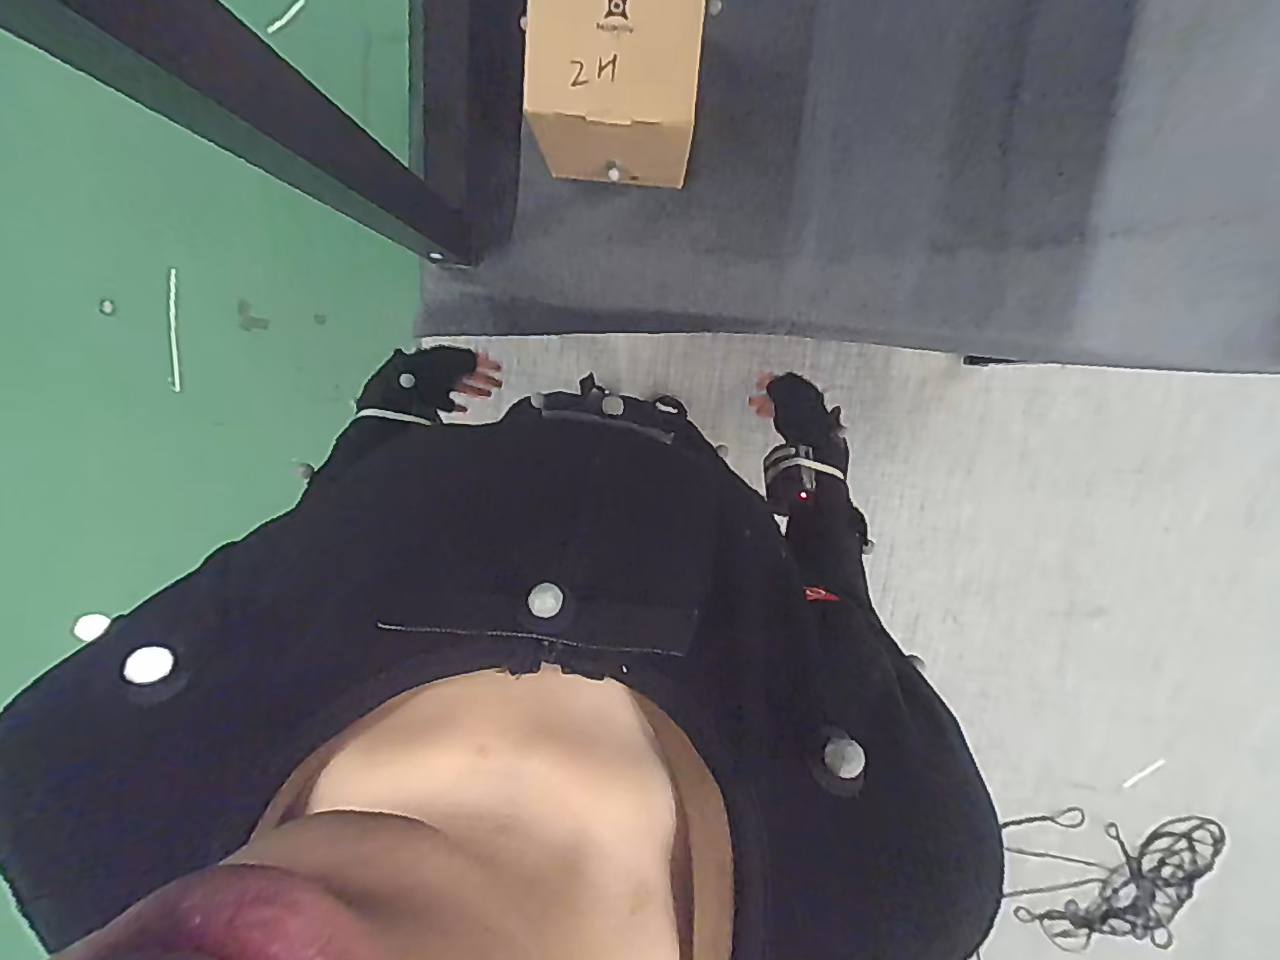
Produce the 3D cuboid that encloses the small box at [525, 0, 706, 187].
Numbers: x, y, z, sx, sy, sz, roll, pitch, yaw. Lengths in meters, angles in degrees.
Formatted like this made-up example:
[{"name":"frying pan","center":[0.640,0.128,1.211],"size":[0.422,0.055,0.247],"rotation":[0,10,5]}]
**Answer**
[{"name":"small box","center":[-0.022,-0.446,0.582],"size":[0.168,0.176,0.179],"rotation":[5,100,0]}]
